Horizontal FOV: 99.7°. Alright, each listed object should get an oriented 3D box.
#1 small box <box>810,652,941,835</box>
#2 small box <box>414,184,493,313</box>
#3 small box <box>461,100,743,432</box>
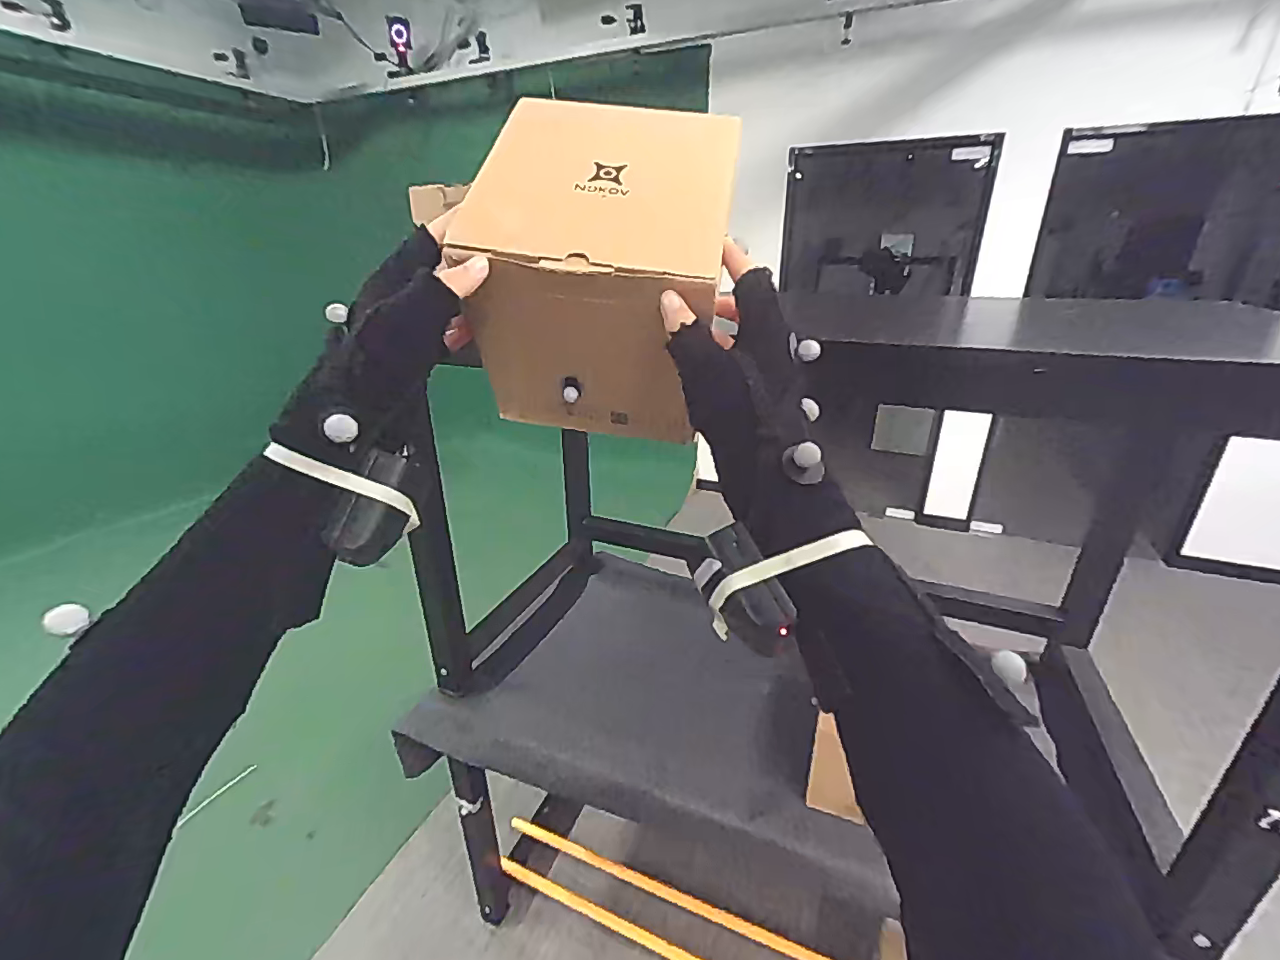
[{"bbox_3d":[0.374,0.416,0.874,0.168,0.176,0.179,8,23,21],"label":"small box"},{"bbox_3d":[-0.212,-0.351,0.834,0.168,0.176,0.179,9,23,20],"label":"small box"},{"bbox_3d":[-0.018,-0.164,0.433,0.168,0.176,0.179,8,60,5],"label":"small box"}]
